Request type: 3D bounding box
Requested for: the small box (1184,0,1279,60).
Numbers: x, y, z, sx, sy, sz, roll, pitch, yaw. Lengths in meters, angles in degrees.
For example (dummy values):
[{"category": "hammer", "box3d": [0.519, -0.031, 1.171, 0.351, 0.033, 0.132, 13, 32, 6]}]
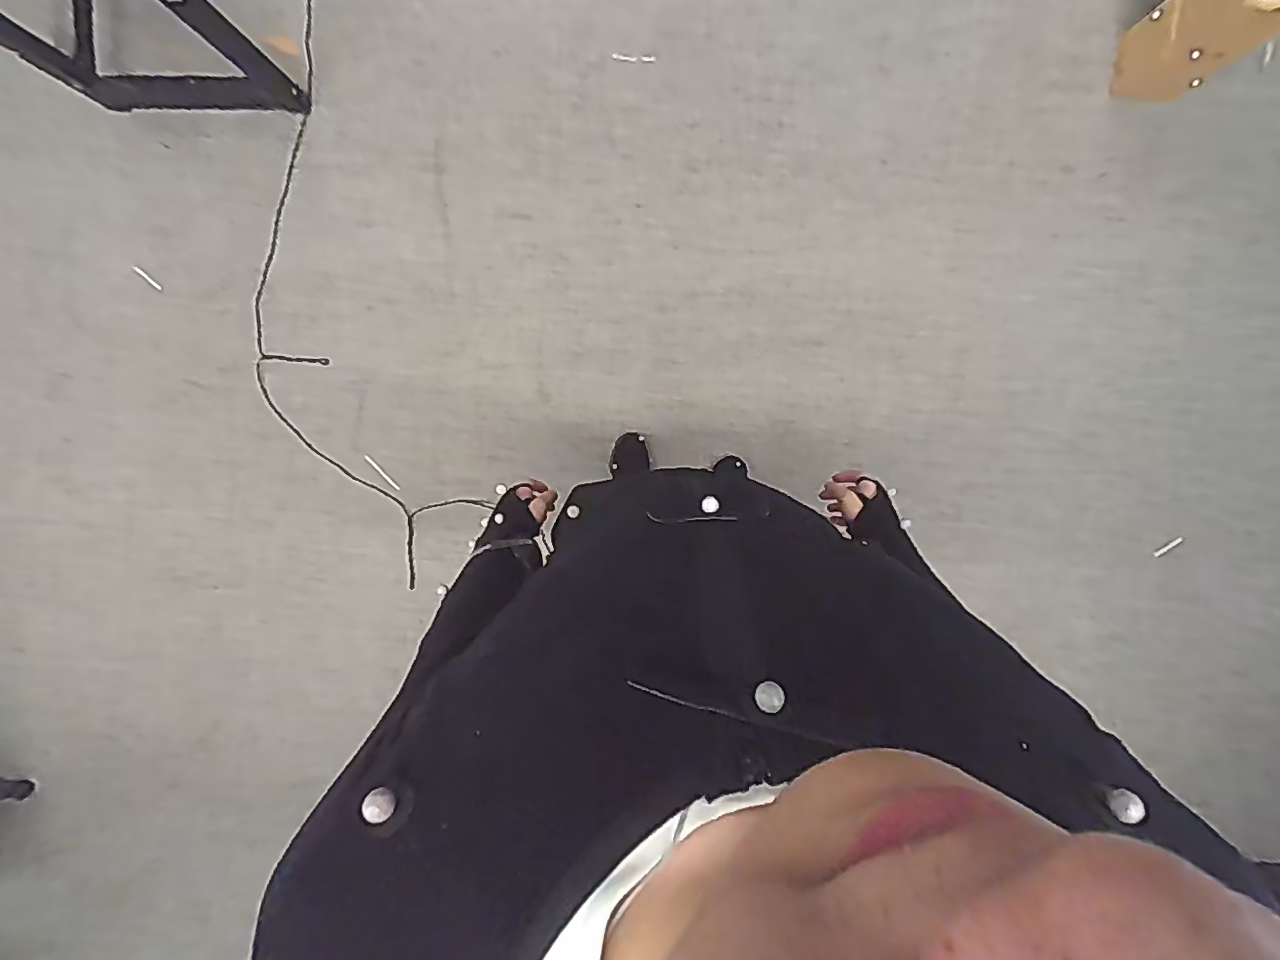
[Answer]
[{"category": "small box", "box3d": [1.418, -1.113, 1.241, 0.168, 0.176, 0.179, 6, 95, 0]}]
